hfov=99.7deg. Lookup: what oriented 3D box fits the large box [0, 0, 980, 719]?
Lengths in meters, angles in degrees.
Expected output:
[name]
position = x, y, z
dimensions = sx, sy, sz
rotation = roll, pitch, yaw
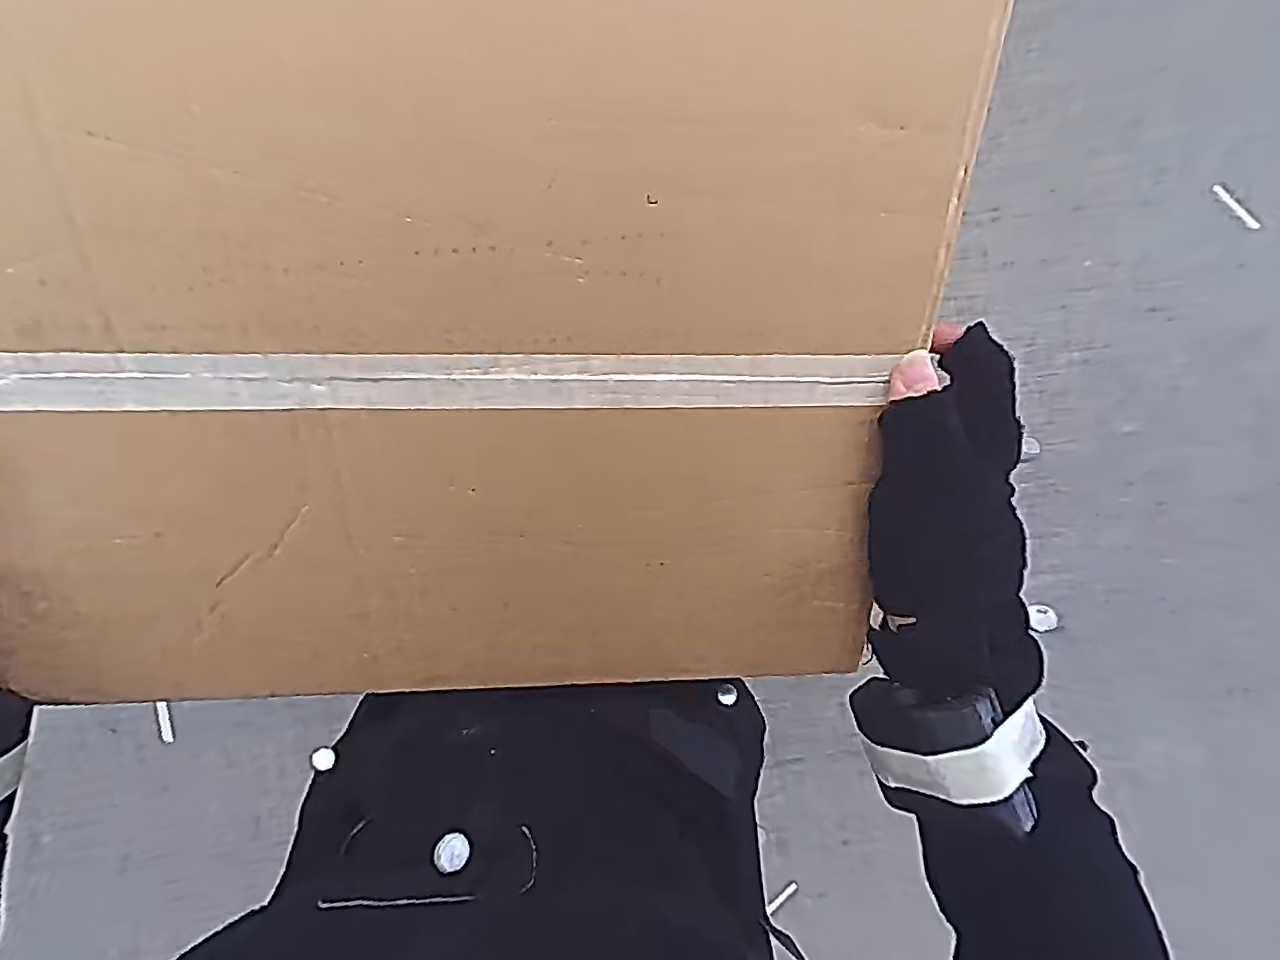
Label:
[large box]
position = -0.096, -0.088, 0.355
dimensions = 0.408, 0.320, 0.320
rotation = -1, 114, -5
